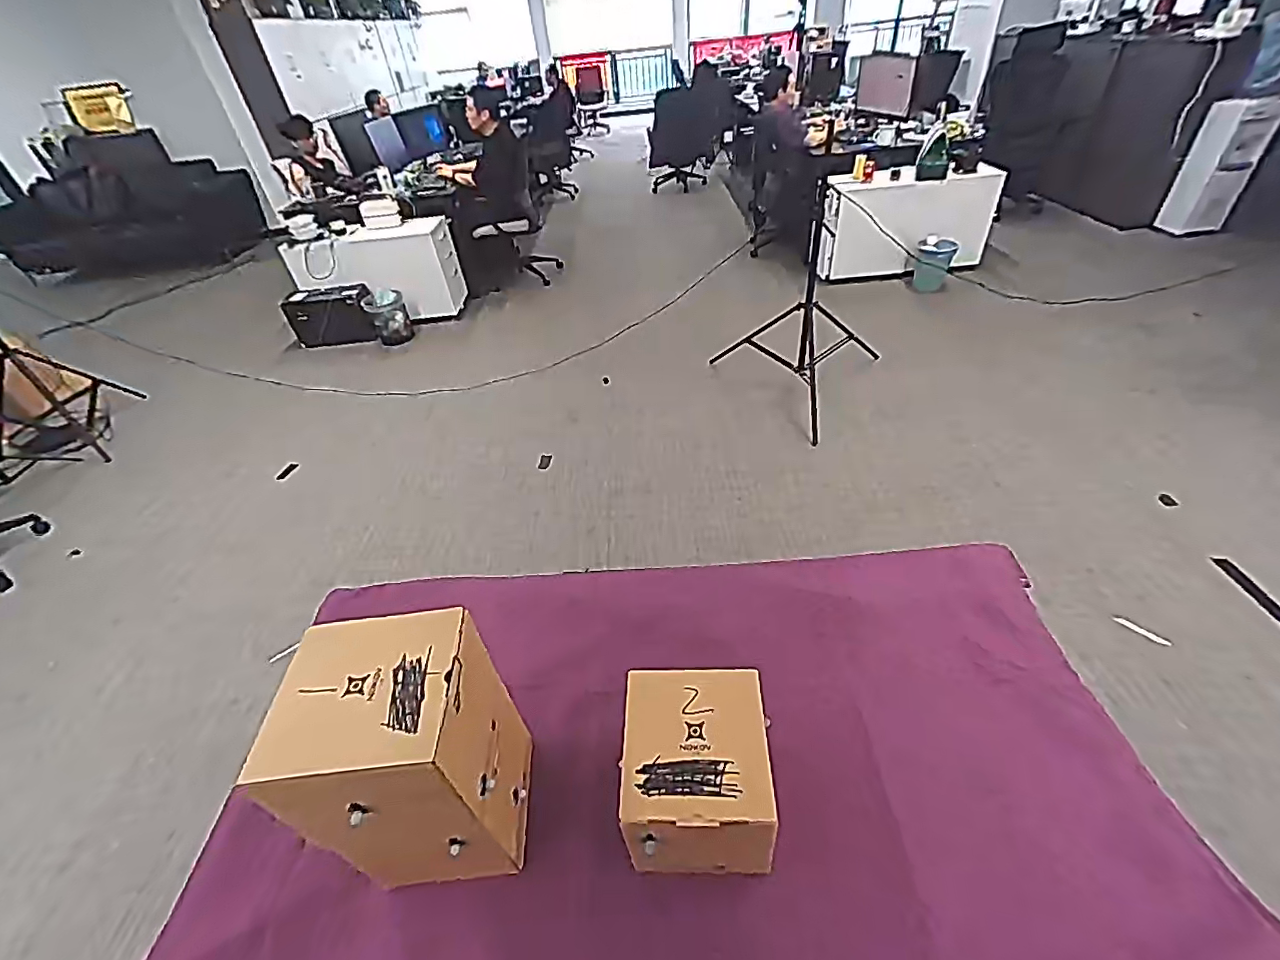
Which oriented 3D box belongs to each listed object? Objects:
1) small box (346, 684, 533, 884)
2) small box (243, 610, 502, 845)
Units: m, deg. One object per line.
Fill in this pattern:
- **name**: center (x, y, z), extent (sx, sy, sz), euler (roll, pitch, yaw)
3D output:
- **small box**: center (-0.245, 0.387, 0.688), extent (0.179, 0.176, 0.168), euler (-7, 40, -1)
- **small box**: center (-0.257, 0.264, 0.579), extent (0.179, 0.176, 0.168), euler (-7, 39, 0)
